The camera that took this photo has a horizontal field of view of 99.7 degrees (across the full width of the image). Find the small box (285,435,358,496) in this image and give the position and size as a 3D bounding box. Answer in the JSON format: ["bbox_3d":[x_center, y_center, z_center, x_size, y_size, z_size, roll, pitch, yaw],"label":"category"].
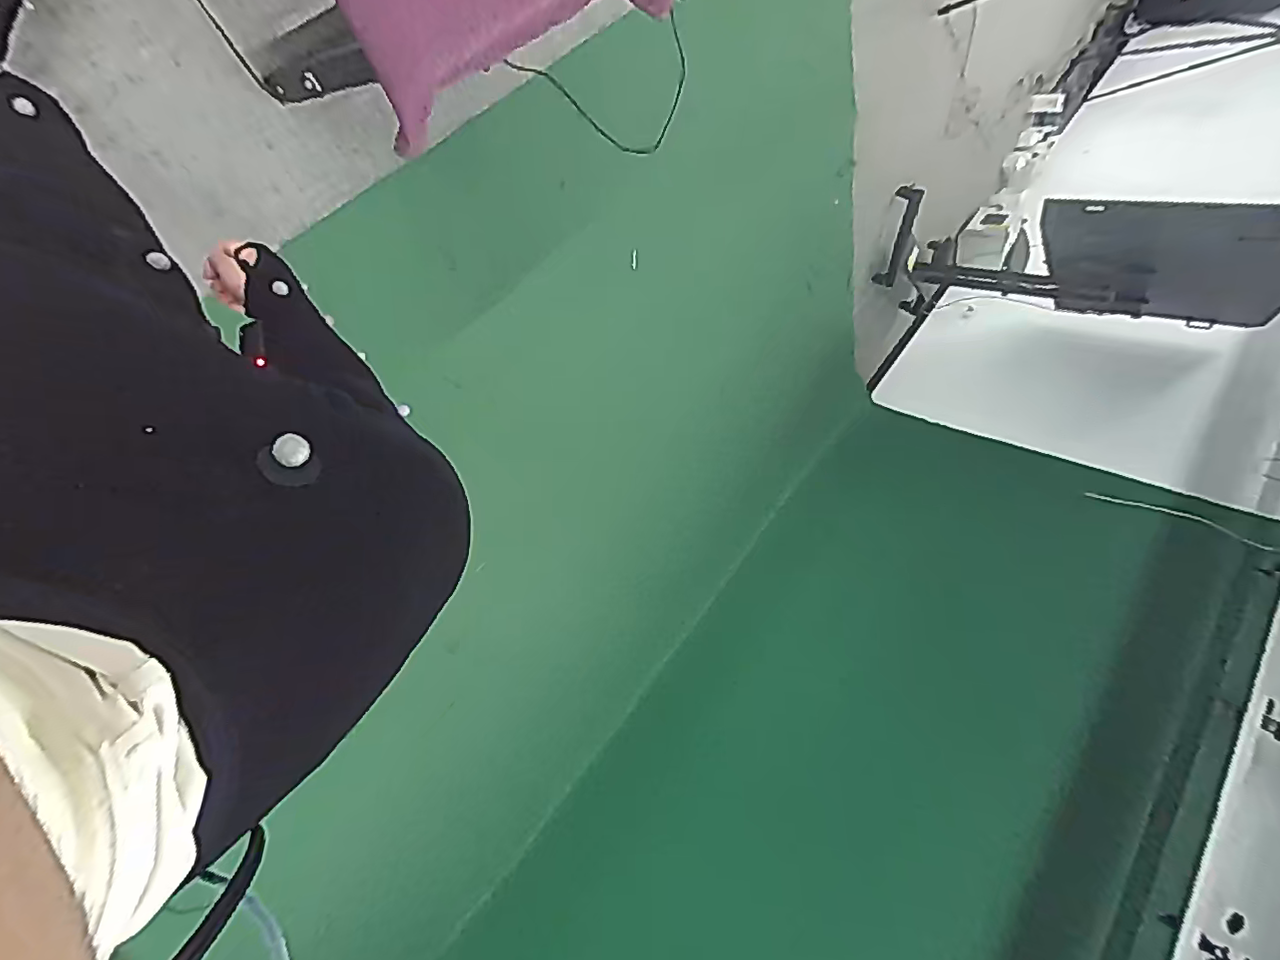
[{"bbox_3d":[-0.867,-0.003,1.551,0.168,0.176,0.179,-49,141,-19],"label":"small box"}]
